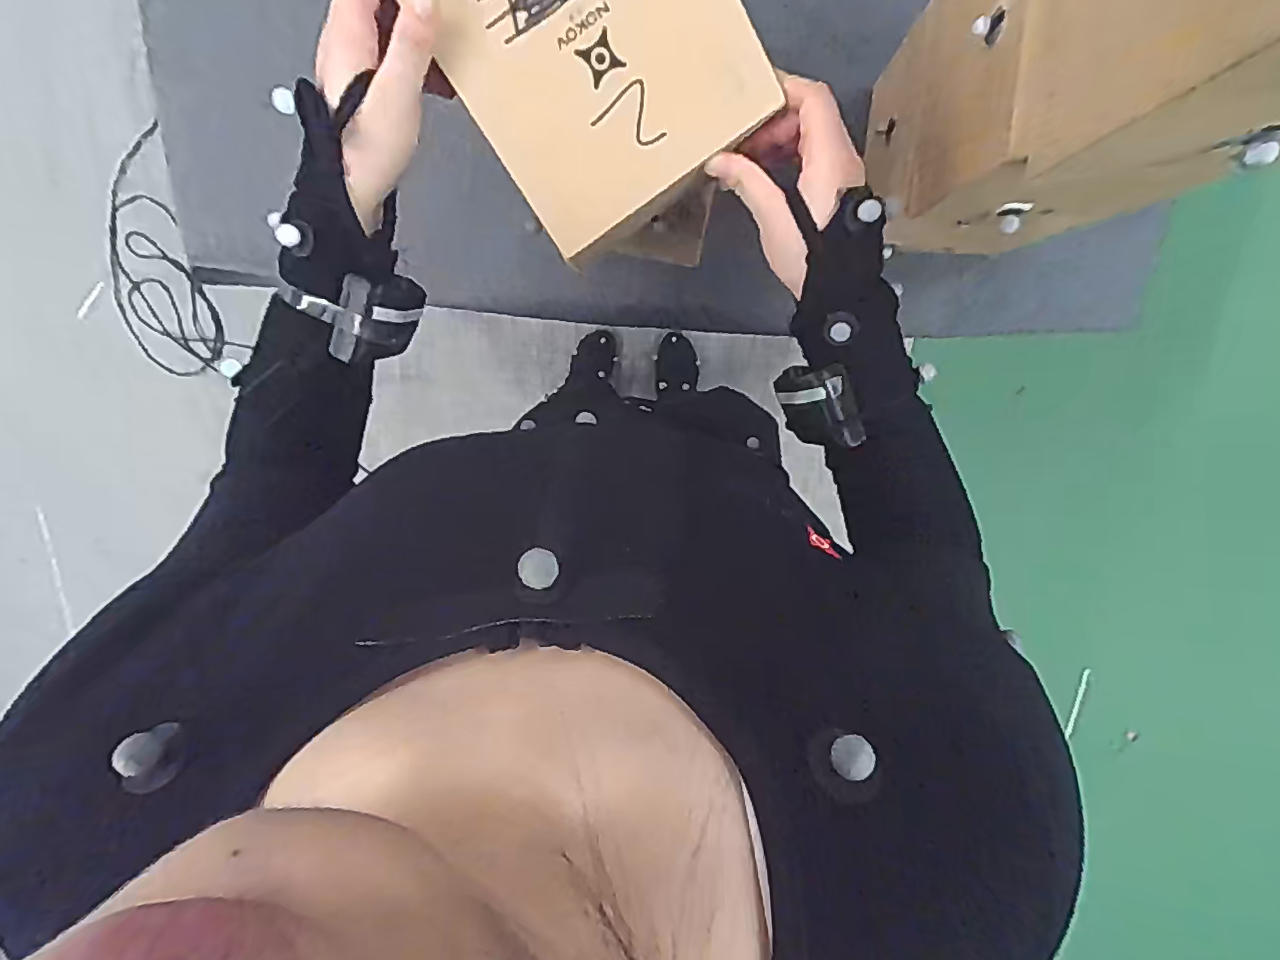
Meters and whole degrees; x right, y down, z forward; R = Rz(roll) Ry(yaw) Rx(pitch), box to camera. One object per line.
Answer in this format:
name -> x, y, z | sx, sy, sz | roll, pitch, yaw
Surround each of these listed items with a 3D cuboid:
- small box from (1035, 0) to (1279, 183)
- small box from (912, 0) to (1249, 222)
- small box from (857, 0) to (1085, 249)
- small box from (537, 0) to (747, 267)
small box -> 0.303, -0.251, 0.226 | 0.168, 0.176, 0.179 | -2, 103, 7
small box -> 0.314, -0.297, 0.384 | 0.168, 0.176, 0.179 | 1, 104, 5
small box -> 0.331, -0.338, 0.541 | 0.168, 0.176, 0.179 | 4, 102, 4
small box -> 0.003, -0.342, 0.568 | 0.168, 0.176, 0.179 | 12, 103, 2
